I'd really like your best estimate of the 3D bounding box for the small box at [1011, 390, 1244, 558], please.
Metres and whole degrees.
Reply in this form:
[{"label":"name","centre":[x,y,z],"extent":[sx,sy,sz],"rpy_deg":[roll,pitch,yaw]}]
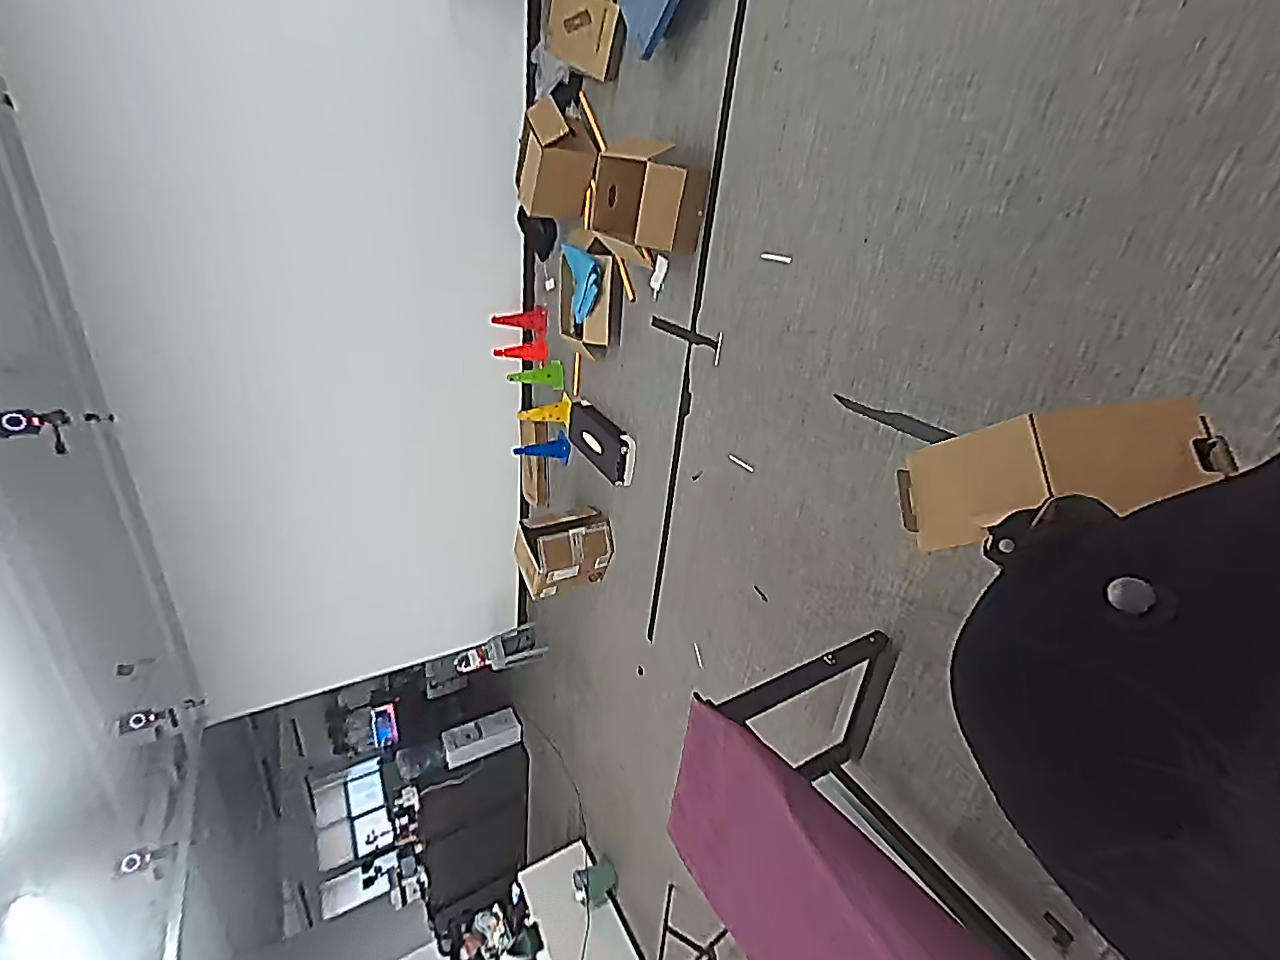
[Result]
[{"label":"small box","centre":[0.617,0.004,0.719],"extent":[0.179,0.176,0.168],"rpy_deg":[-5,66,21]}]
